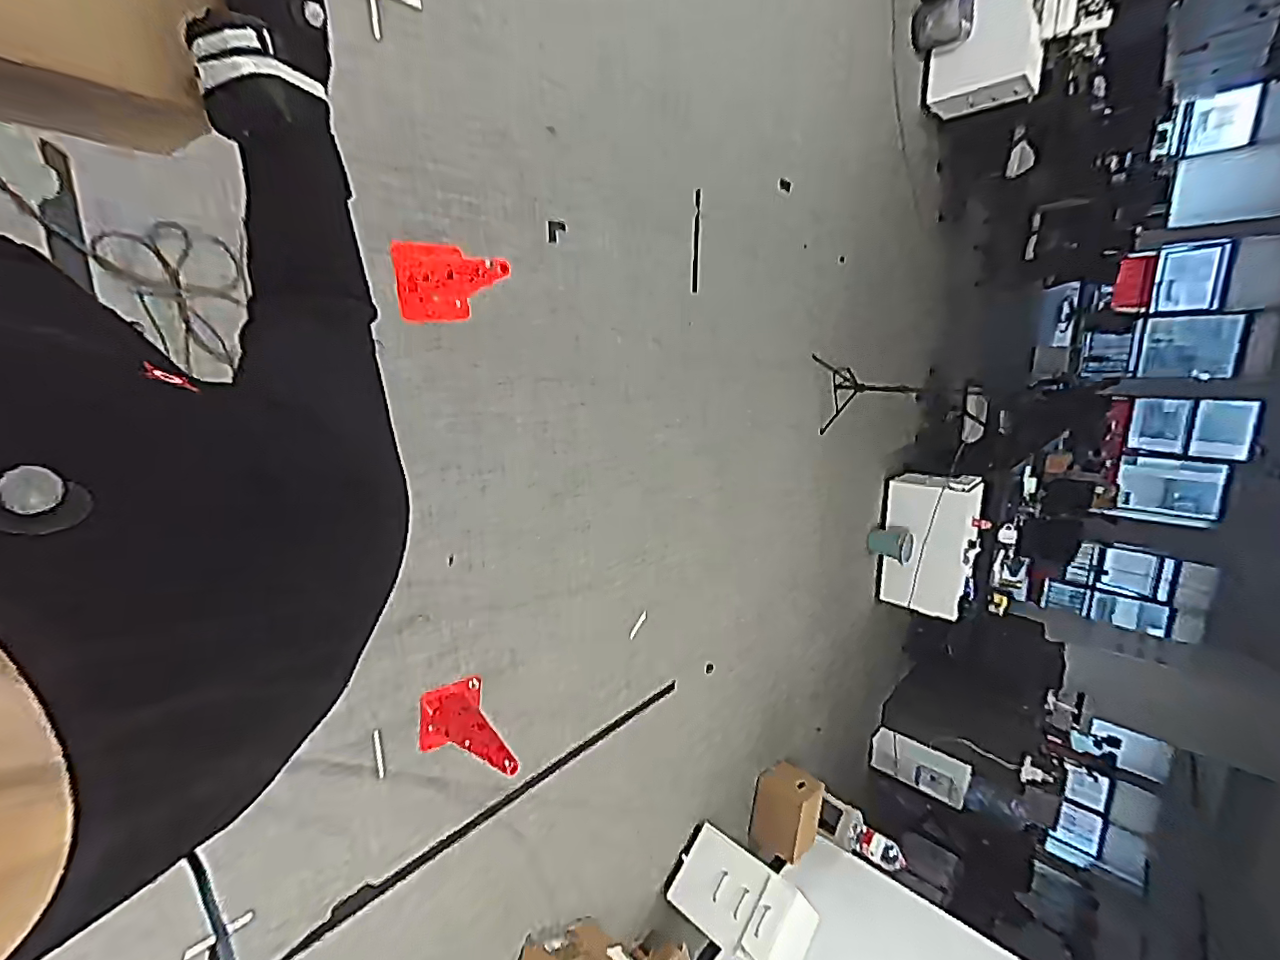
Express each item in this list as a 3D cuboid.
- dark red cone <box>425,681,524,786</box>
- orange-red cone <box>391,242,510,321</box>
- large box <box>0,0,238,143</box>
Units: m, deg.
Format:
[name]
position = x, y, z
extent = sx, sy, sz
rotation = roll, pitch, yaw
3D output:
[dark red cone]
position = -0.460, 0.768, 1.579
extent = 0.201, 0.394, 0.202
rotation = -6, 102, -45
[orange-red cone]
position = -0.442, -0.513, 1.352
extent = 0.198, 0.360, 0.199
rotation = -18, 110, -45
[large box]
position = -0.531, -0.437, 0.313
extent = 0.408, 0.320, 0.320
rotation = -12, 117, -47
